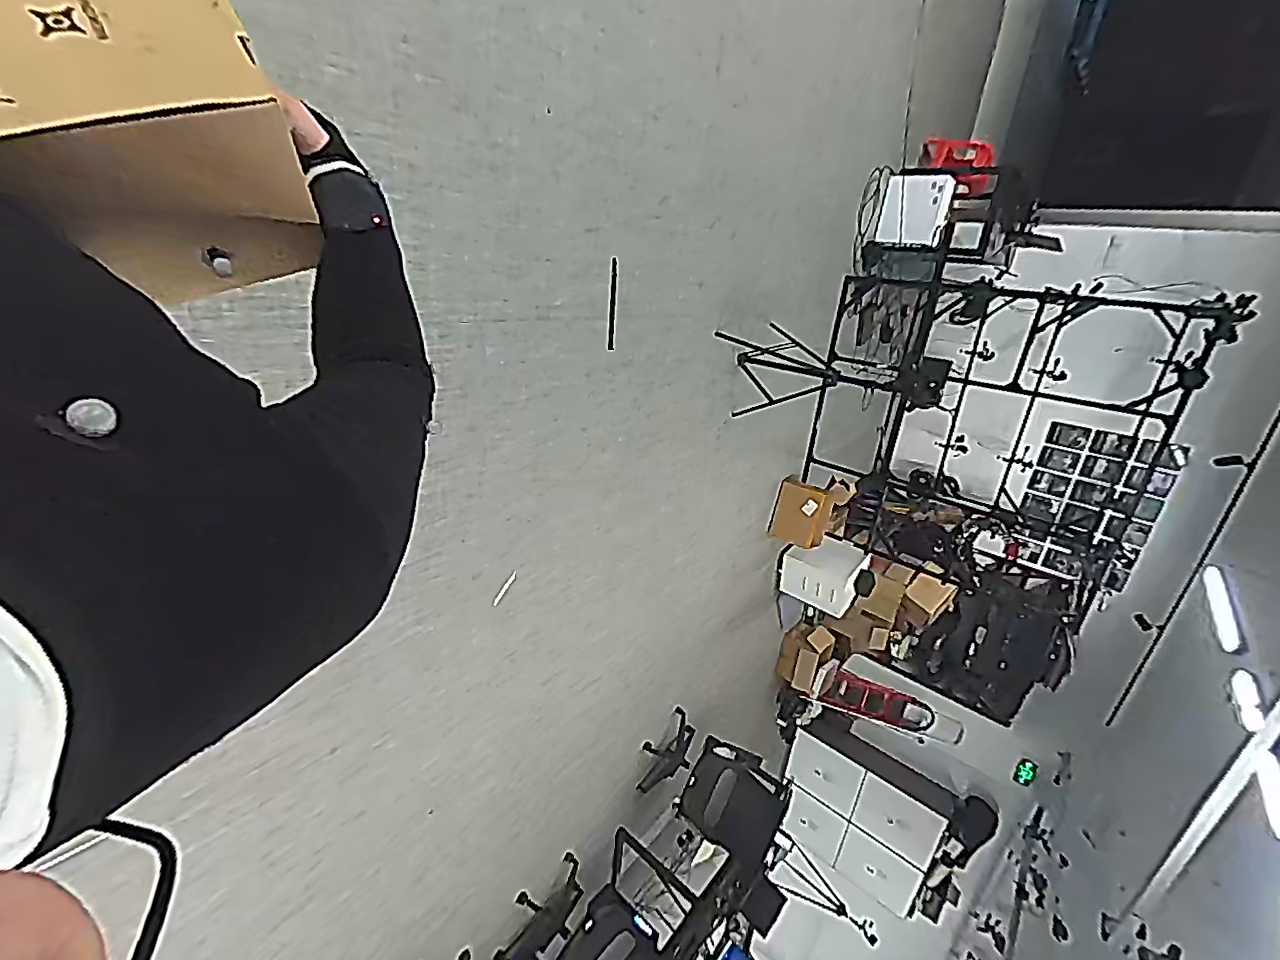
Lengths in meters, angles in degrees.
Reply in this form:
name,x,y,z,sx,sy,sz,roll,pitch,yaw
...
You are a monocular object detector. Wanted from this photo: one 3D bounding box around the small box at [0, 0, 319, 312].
name,x,y,z,sx,sy,sz,roll,pitch,yaw
small box,-0.392,-0.271,0.441,0.179,0.168,0.176,-29,171,-24
